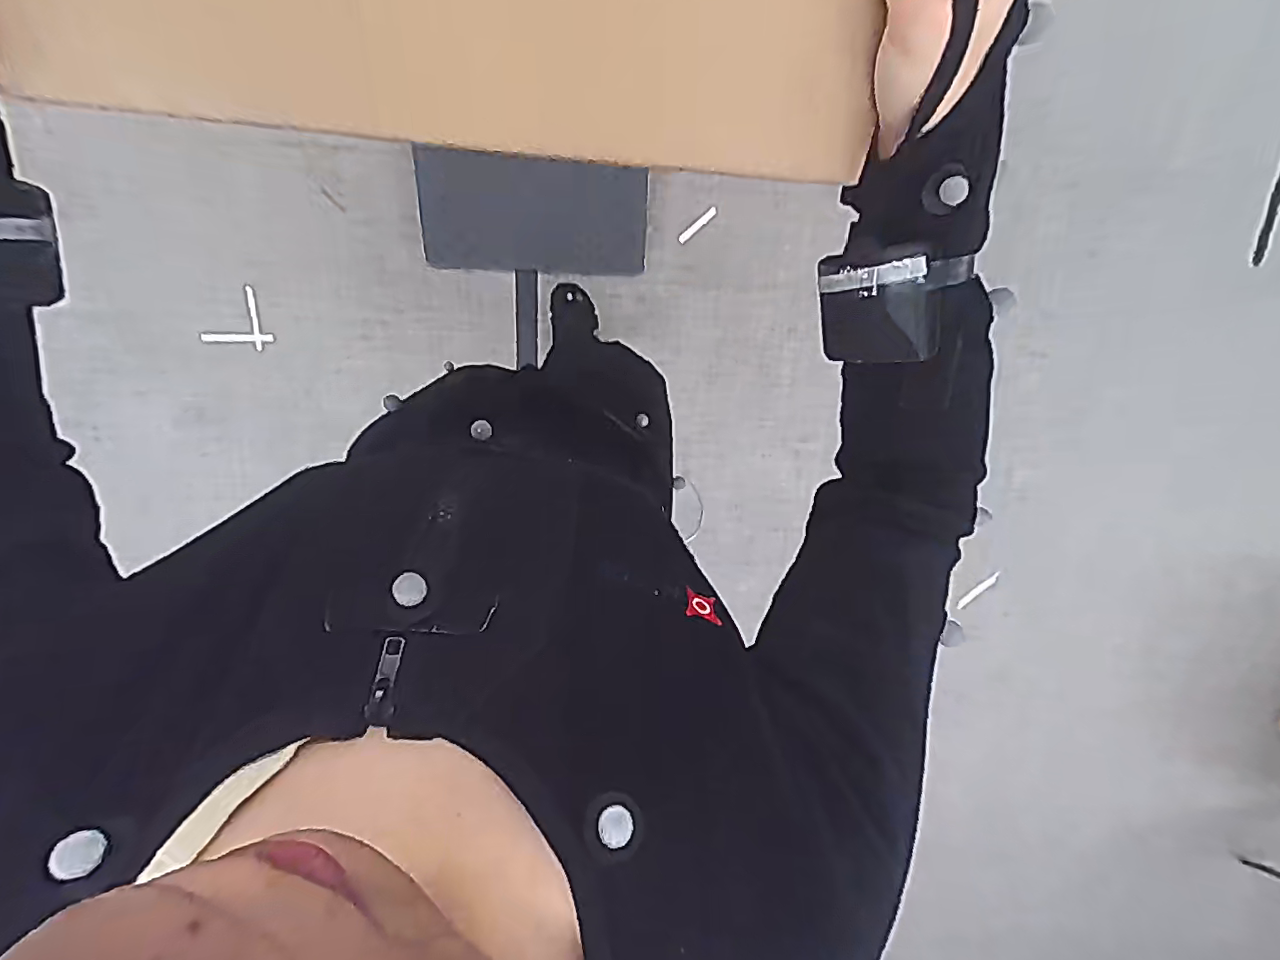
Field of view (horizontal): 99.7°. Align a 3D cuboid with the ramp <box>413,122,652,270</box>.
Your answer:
[{"bbox_3d":[-0.201,-0.931,1.005,0.509,0.206,0.991,-1,108,-6],"label":"ramp"}]

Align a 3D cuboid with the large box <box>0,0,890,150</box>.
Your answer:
[{"bbox_3d":[-0.085,-0.388,0.308,0.408,0.320,0.320,1,124,-7],"label":"large box"}]
